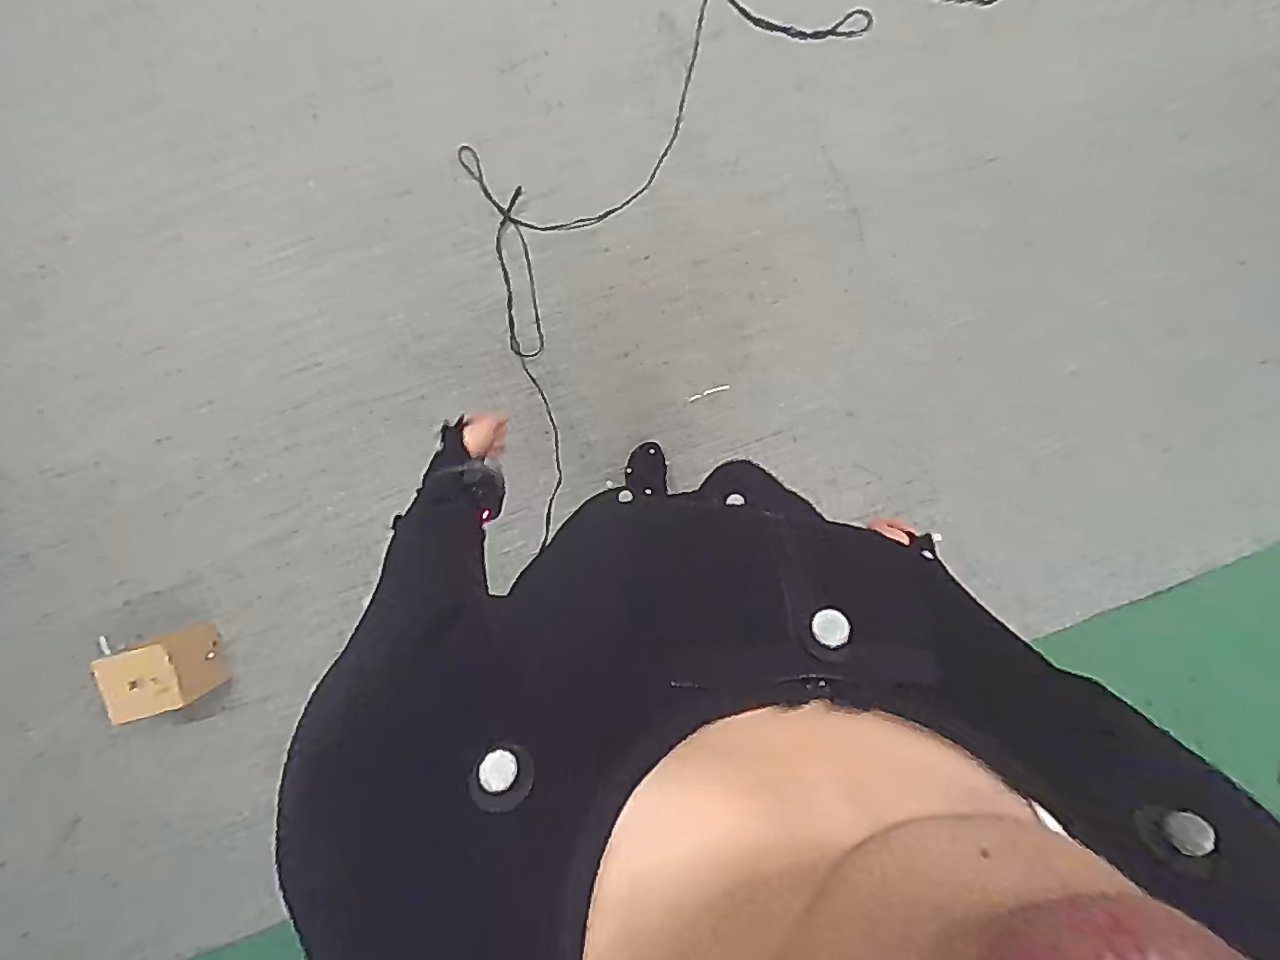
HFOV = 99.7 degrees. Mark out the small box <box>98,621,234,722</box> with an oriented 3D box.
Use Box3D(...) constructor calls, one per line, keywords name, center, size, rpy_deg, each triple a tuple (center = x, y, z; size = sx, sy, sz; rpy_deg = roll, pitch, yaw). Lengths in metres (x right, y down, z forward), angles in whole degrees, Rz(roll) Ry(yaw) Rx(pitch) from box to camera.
Box3D(name="small box", center=(-1.196, 0.480, 1.375), size=(0.179, 0.176, 0.168), rpy_deg=(-15, 95, -2))
